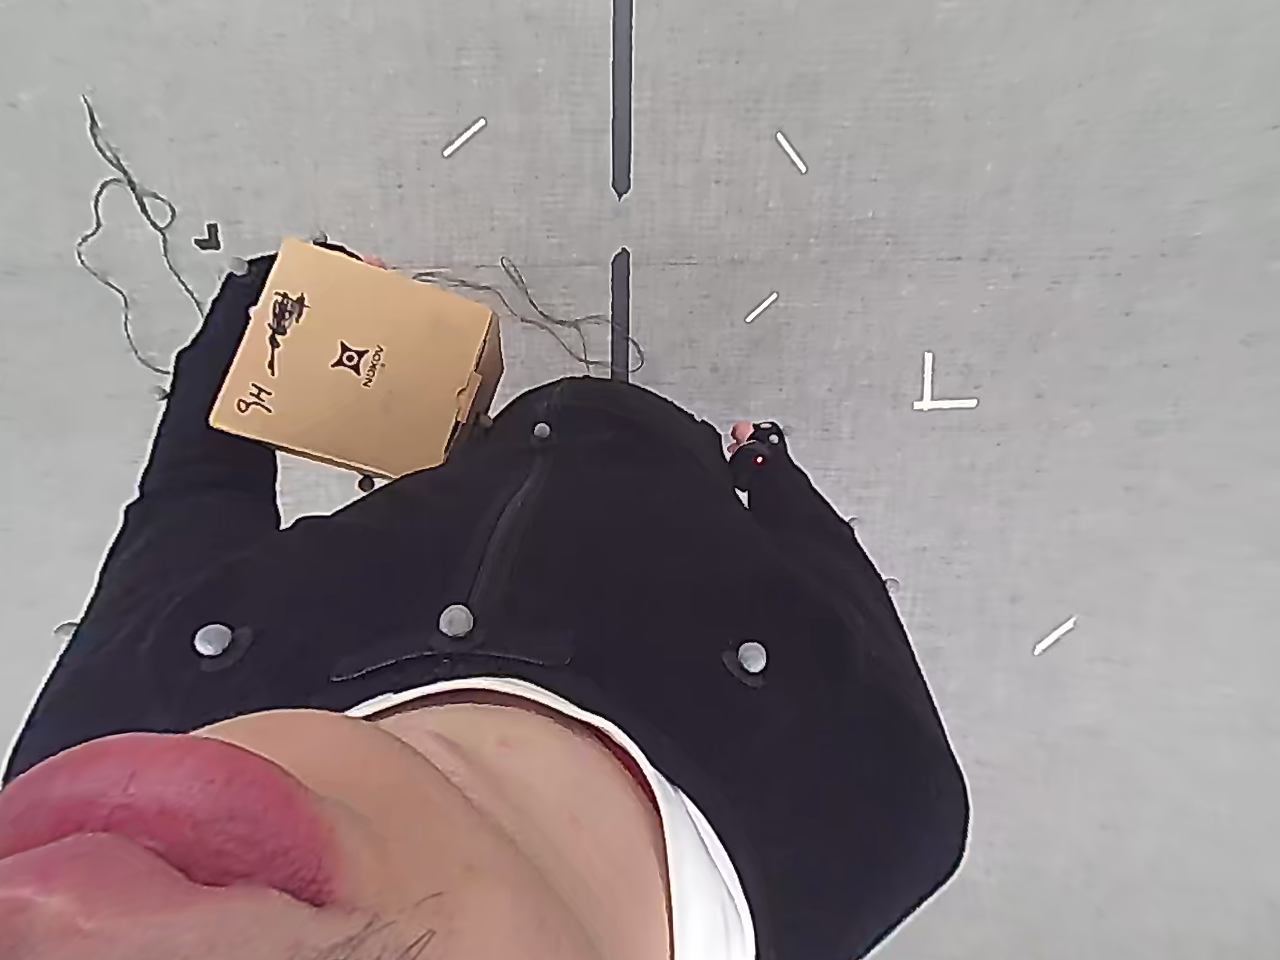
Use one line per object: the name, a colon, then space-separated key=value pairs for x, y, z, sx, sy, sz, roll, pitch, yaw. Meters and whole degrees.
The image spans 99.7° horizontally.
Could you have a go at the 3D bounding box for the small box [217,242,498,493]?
small box: x=-0.245 y=-0.088 z=0.526 sx=0.179 sy=0.176 sz=0.168 roll=17 pitch=80 yaw=-11
